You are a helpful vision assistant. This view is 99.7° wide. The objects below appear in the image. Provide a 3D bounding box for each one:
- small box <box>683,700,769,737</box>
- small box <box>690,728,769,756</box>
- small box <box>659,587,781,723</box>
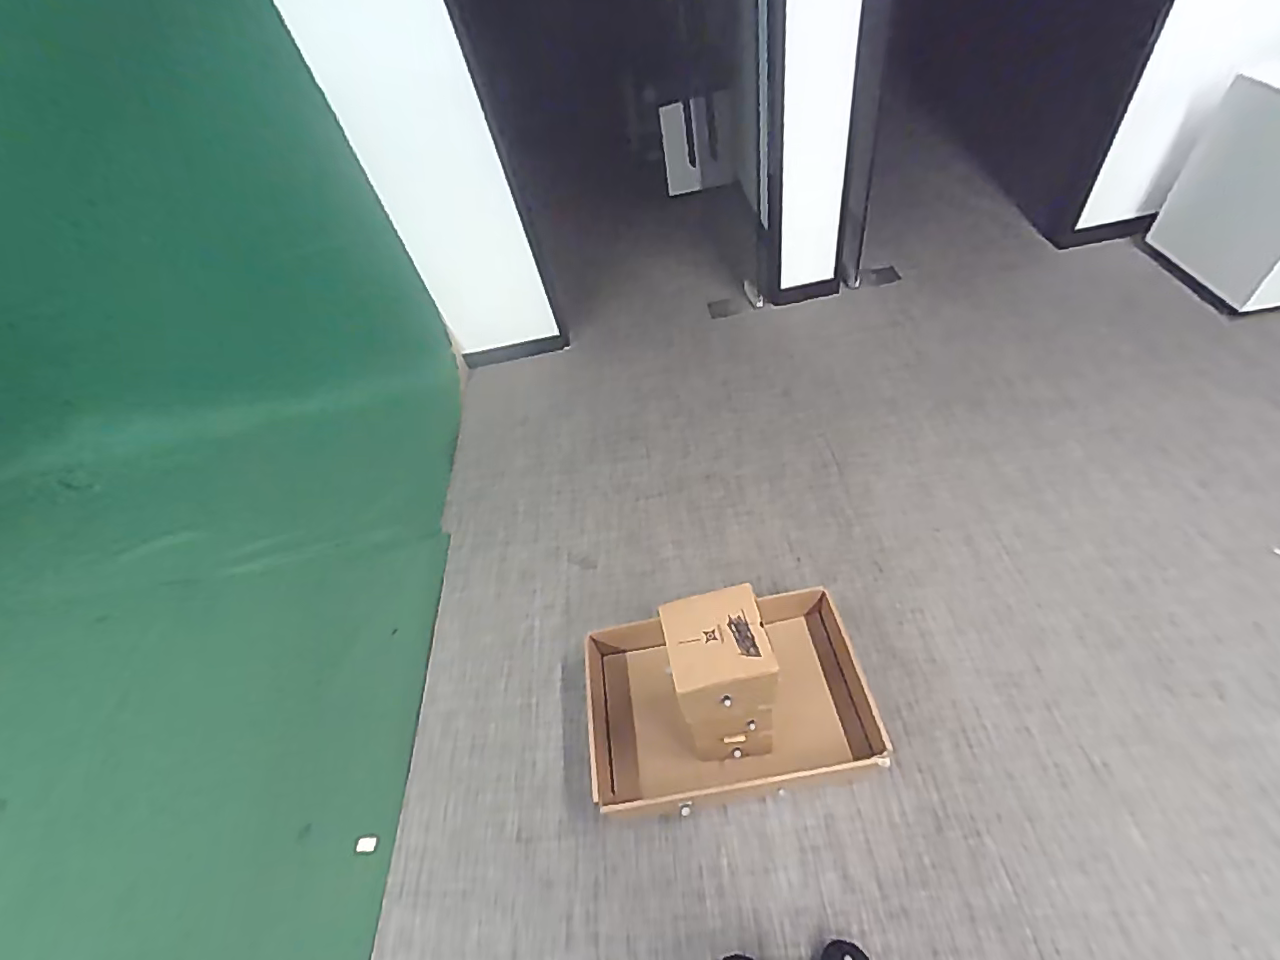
[{"bbox_3d":[0.170,0.422,1.126,0.168,0.176,0.179,-10,48,4],"label":"small box"},{"bbox_3d":[0.199,0.525,1.248,0.168,0.176,0.179,-10,50,6],"label":"small box"},{"bbox_3d":[0.143,0.324,0.997,0.179,0.176,0.168,-15,50,-1],"label":"small box"}]
